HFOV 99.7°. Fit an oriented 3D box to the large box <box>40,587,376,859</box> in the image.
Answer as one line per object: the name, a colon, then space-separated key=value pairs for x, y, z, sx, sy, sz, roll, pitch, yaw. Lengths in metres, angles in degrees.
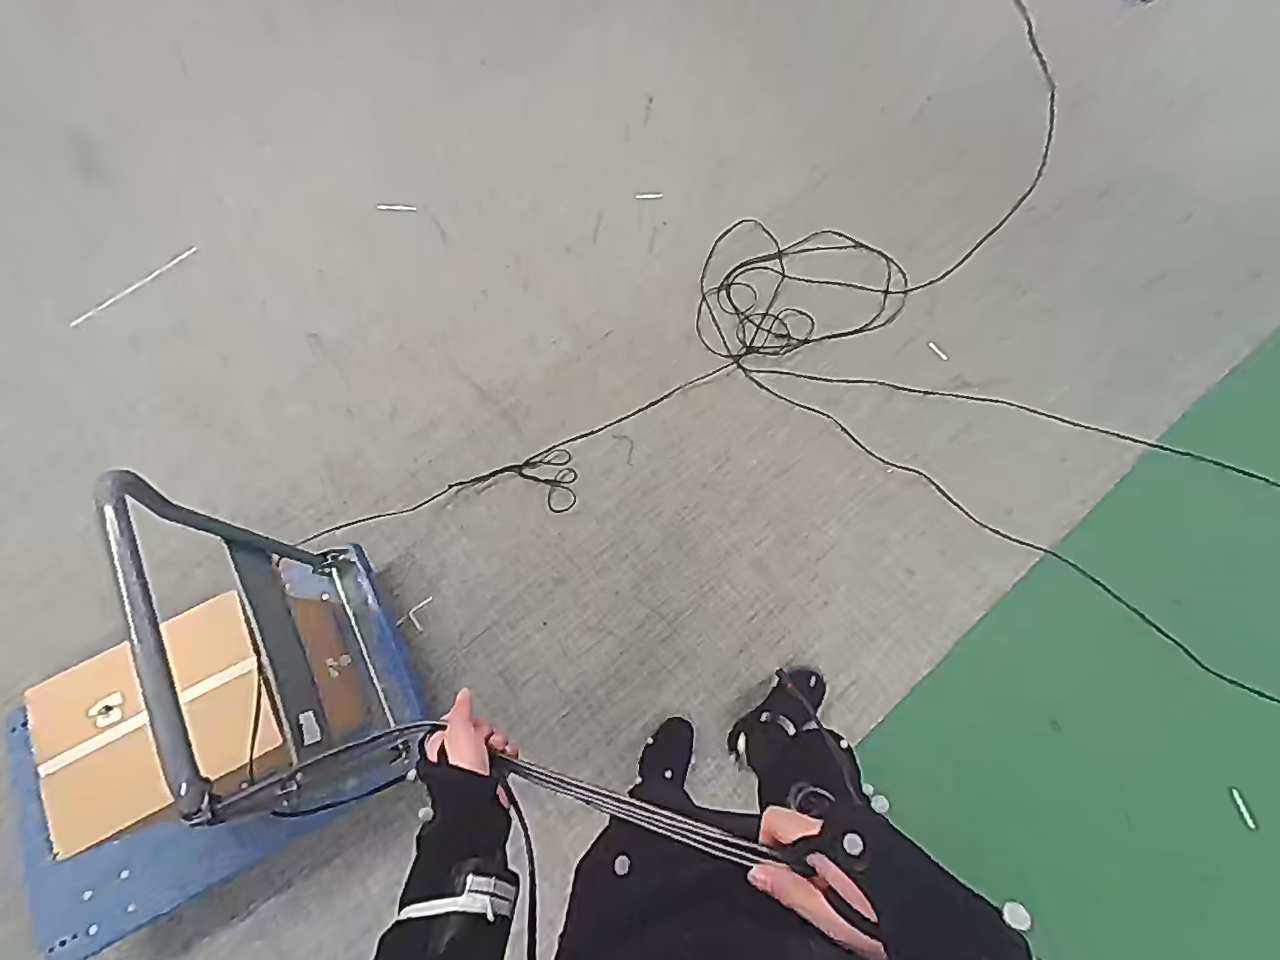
large box: x=-0.846 y=0.459 z=1.111 sx=0.408 sy=0.320 sz=0.320 roll=-27 pitch=74 yaw=-6
